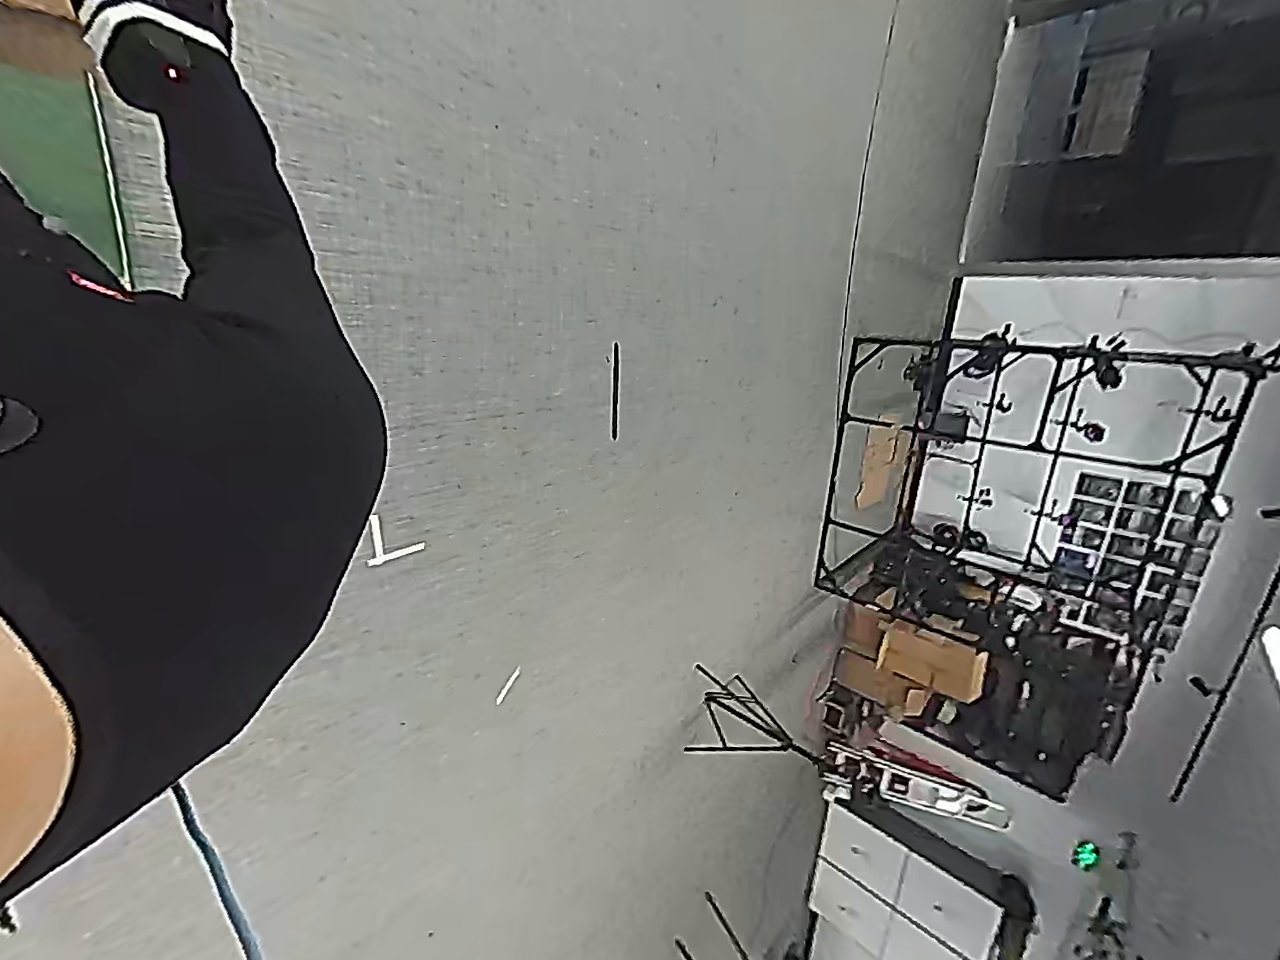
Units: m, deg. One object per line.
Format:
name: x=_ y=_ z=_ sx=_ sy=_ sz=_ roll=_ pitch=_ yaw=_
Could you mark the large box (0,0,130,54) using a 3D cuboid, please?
large box: x=-0.615 y=-0.490 z=0.292 sx=0.408 sy=0.320 sz=0.320 roll=-22 pitch=126 yaw=-46
